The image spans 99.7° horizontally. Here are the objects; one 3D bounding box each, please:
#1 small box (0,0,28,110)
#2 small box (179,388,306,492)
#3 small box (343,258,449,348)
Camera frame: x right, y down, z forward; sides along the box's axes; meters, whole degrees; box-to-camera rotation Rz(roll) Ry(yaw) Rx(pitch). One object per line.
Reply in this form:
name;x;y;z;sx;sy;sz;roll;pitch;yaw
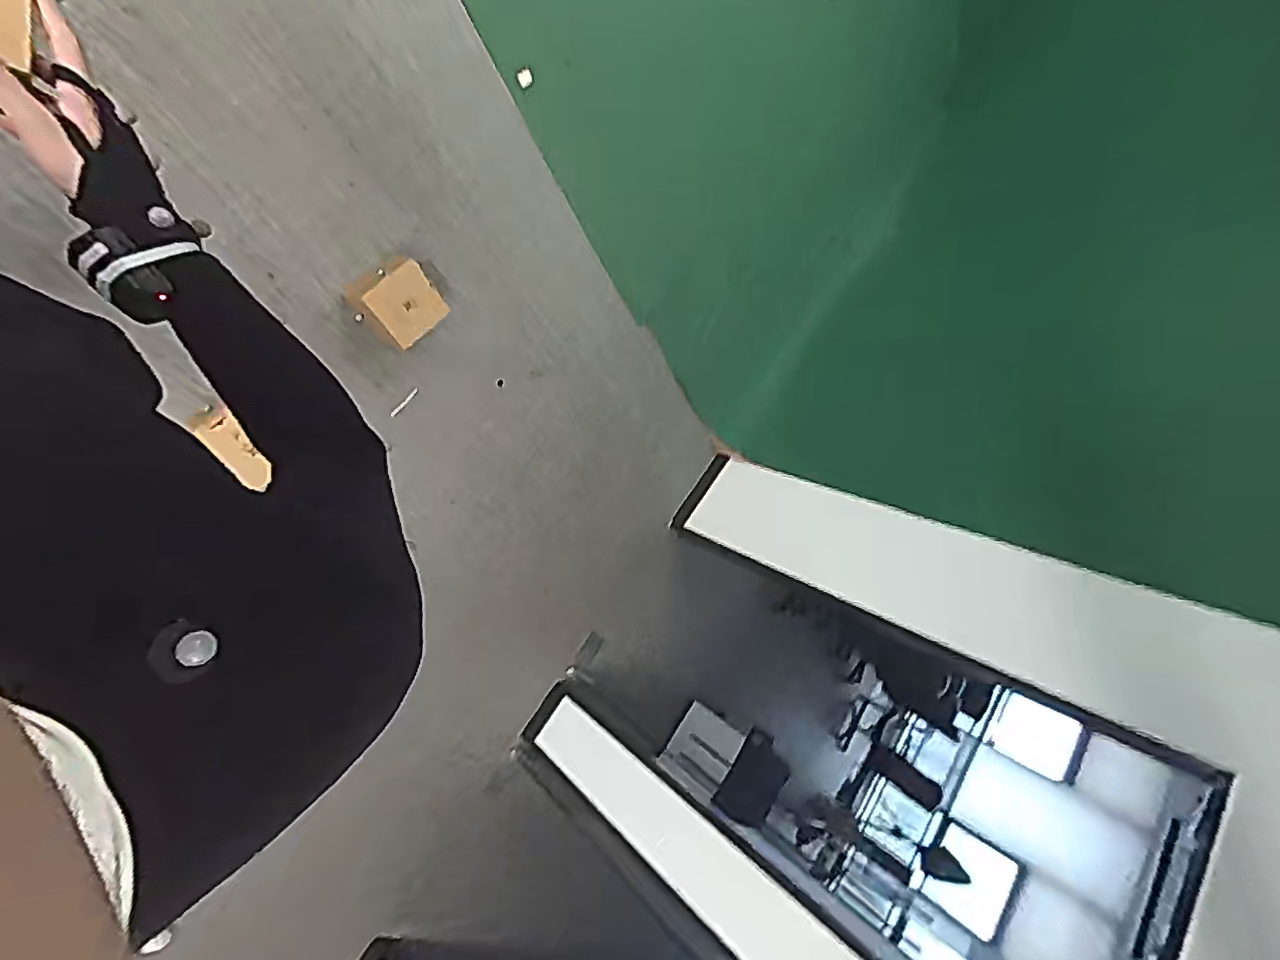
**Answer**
small box;-0.551;-0.399;0.371;0.168;0.176;0.179;-2;104;-51
small box;-0.967;-0.104;1.316;0.168;0.176;0.179;-46;134;-26
small box;-0.667;-0.487;1.473;0.179;0.176;0.168;-49;135;-20
